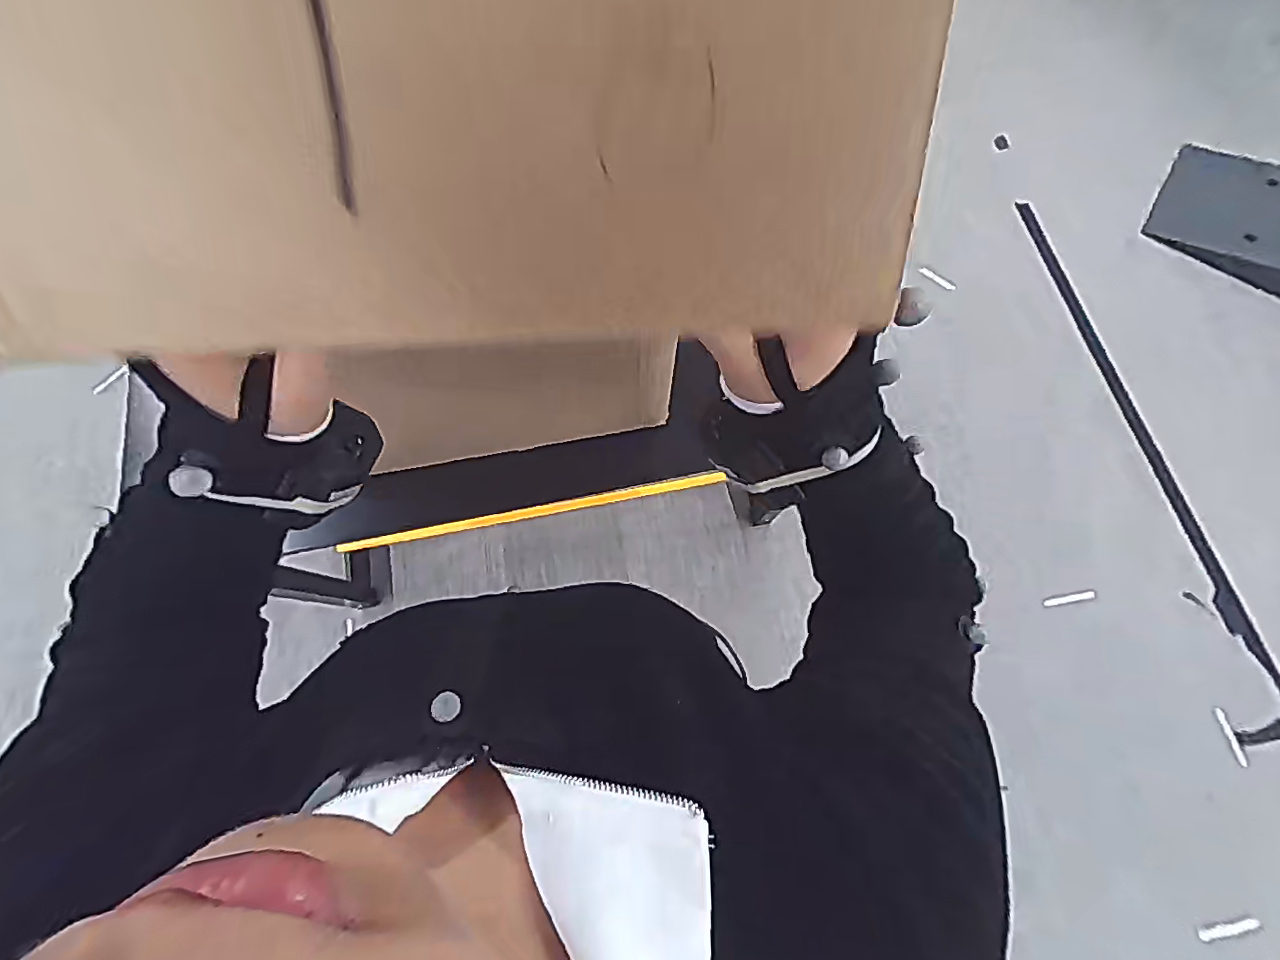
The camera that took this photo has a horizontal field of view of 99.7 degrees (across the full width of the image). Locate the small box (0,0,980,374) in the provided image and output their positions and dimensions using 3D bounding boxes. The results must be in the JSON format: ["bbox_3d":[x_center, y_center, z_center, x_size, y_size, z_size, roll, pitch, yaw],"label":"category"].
[{"bbox_3d":[-0.037,-0.133,0.126,0.168,0.179,0.176,-1,28,2],"label":"small box"}]
